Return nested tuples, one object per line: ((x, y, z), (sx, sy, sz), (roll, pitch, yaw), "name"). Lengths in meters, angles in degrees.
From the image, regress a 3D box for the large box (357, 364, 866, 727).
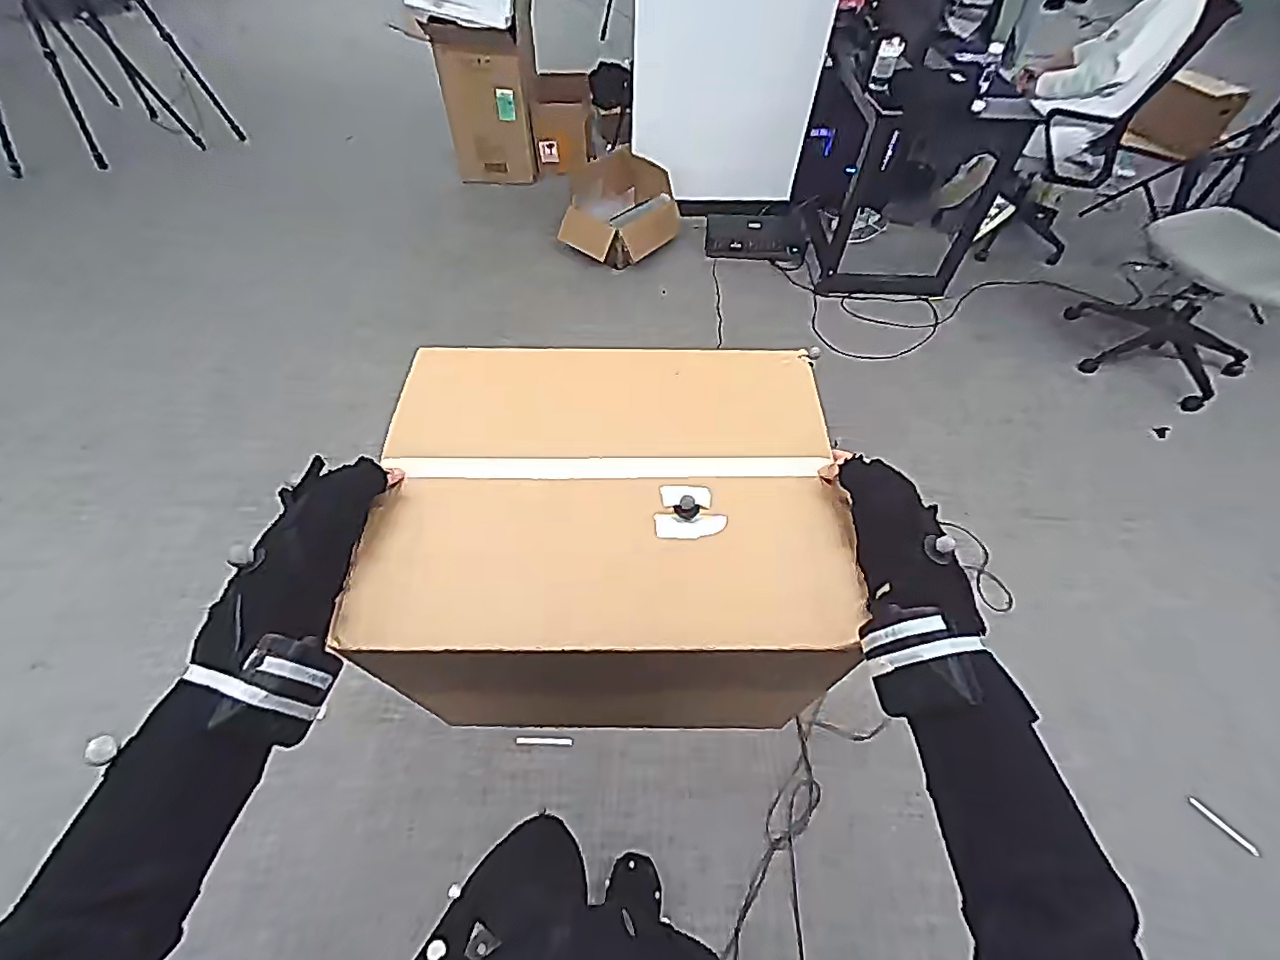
((-0.025, 0.085, 0.621), (0.408, 0.320, 0.320), (0, 56, -1), "large box")
